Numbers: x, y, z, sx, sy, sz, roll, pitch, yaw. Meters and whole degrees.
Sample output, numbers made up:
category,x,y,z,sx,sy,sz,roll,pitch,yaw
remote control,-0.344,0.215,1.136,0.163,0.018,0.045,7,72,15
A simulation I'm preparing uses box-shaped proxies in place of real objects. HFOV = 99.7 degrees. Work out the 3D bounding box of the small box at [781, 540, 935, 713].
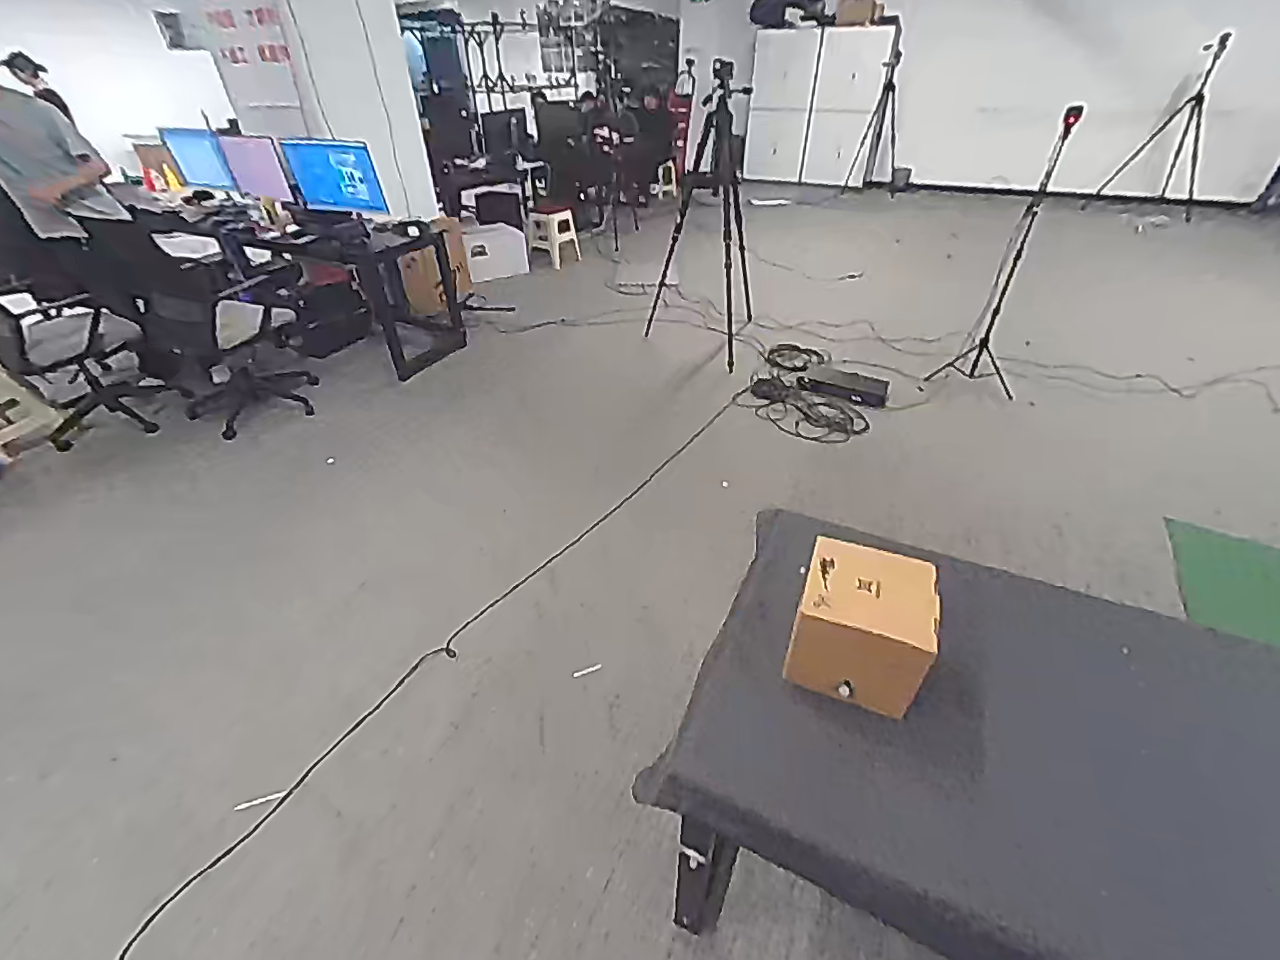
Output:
category,x,y,z,sx,sy,sz,roll,pitch,yaw
small box,0.330,0.226,0.829,0.179,0.176,0.168,15,40,18
